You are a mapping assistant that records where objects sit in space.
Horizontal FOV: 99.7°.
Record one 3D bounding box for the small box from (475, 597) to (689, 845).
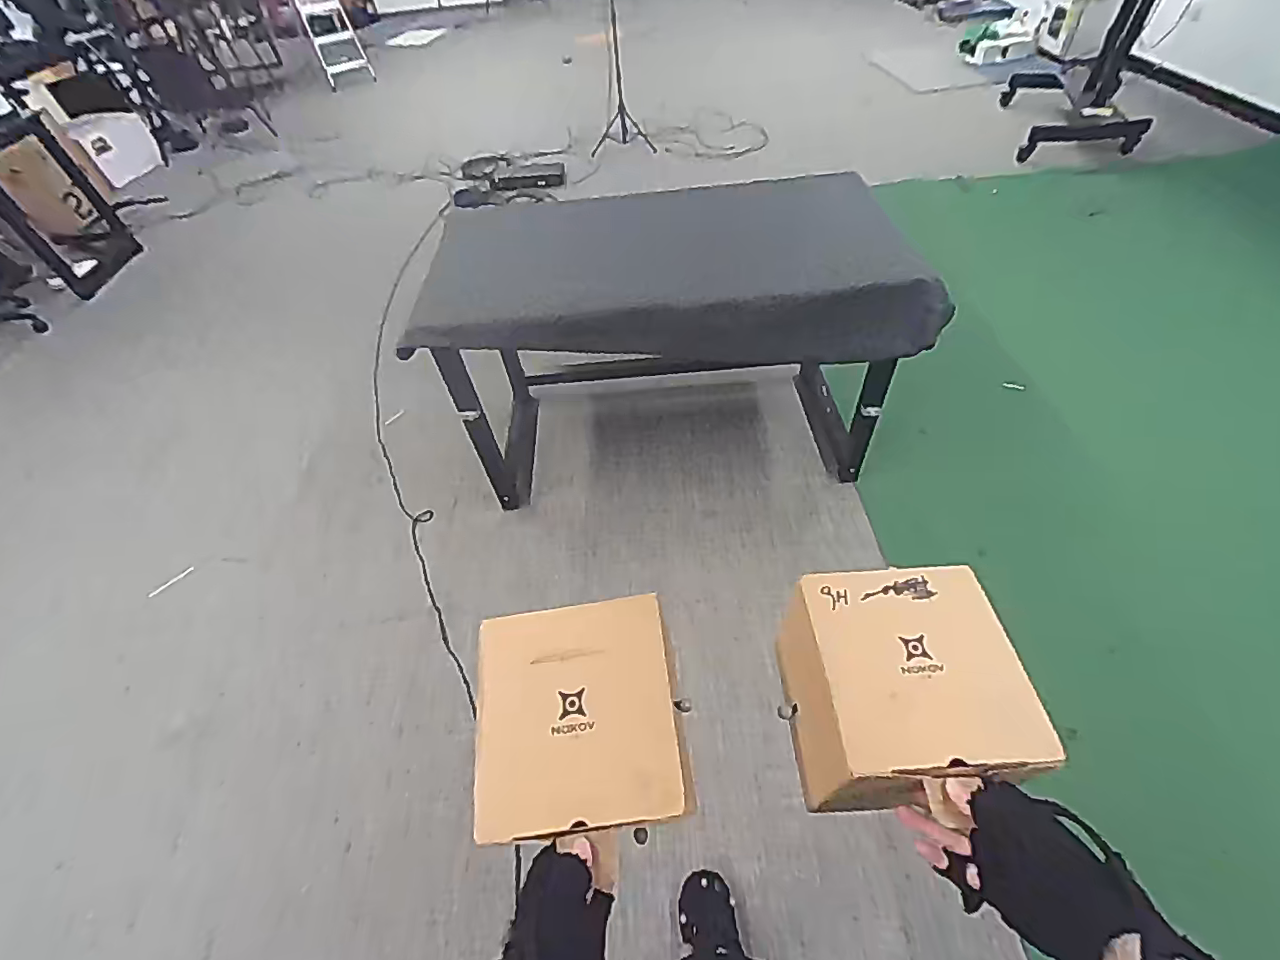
[{"bbox_3d":[-0.049,0.234,0.527,0.168,0.176,0.179,-10,59,2],"label":"small box"}]
